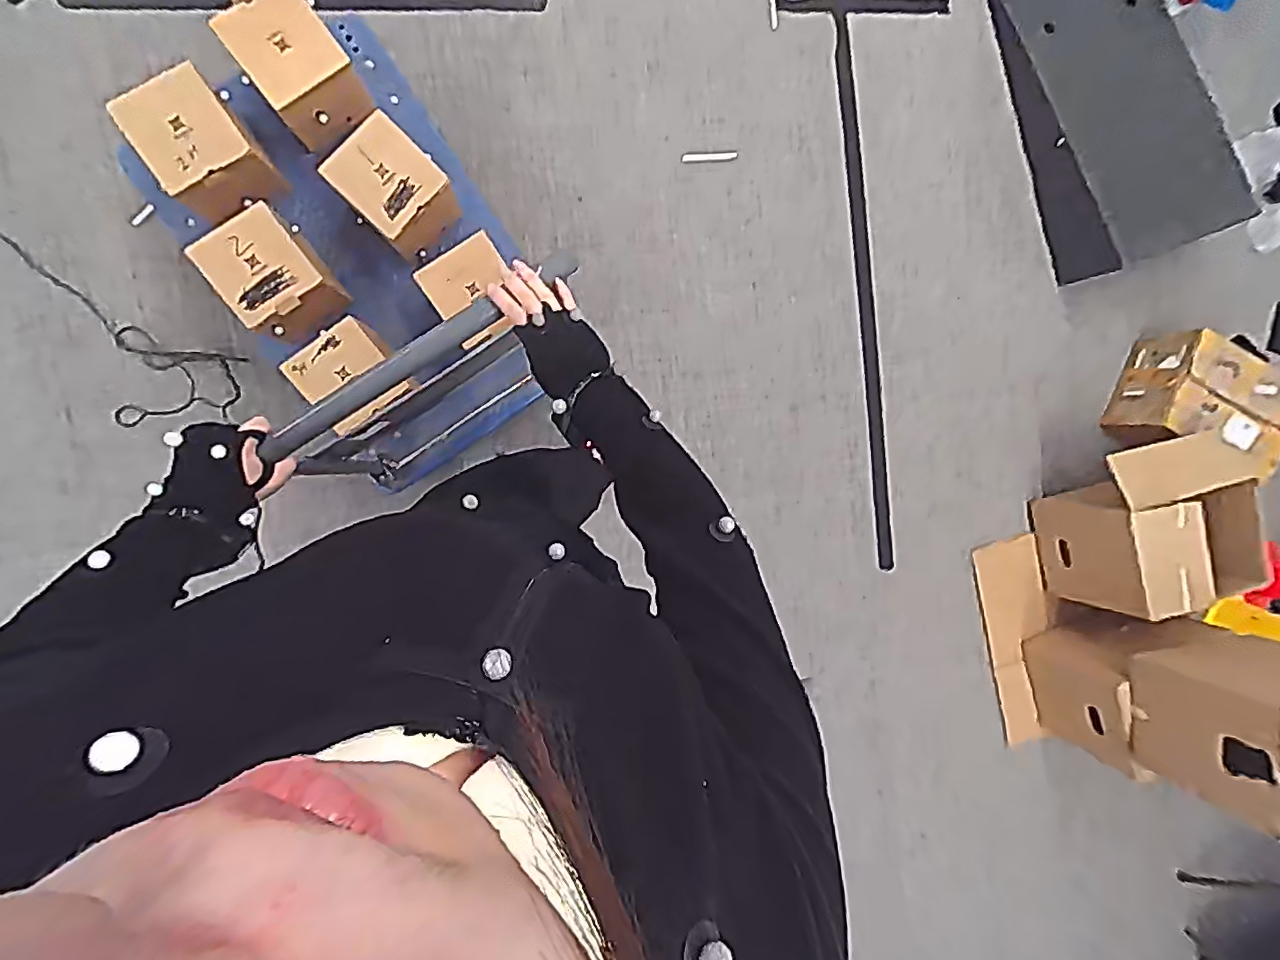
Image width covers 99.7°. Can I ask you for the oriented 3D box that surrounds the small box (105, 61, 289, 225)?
[{"bbox_3d":[-0.828,-0.629,1.032,0.168,0.176,0.179,-34,101,-5],"label":"small box"}]

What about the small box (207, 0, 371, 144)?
[{"bbox_3d":[-0.661,-0.794,1.047,0.168,0.176,0.179,-39,100,-4],"label":"small box"}]

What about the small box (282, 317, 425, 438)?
[{"bbox_3d":[-0.576,-0.207,1.118,0.168,0.176,0.179,-39,101,-5],"label":"small box"}]

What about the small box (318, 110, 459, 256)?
[{"bbox_3d":[-0.494,-0.584,1.097,0.179,0.176,0.168,43,87,-10],"label":"small box"}]

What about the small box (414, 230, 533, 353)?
[{"bbox_3d":[-0.339,-0.385,1.144,0.168,0.176,0.179,-35,99,-6],"label":"small box"}]
